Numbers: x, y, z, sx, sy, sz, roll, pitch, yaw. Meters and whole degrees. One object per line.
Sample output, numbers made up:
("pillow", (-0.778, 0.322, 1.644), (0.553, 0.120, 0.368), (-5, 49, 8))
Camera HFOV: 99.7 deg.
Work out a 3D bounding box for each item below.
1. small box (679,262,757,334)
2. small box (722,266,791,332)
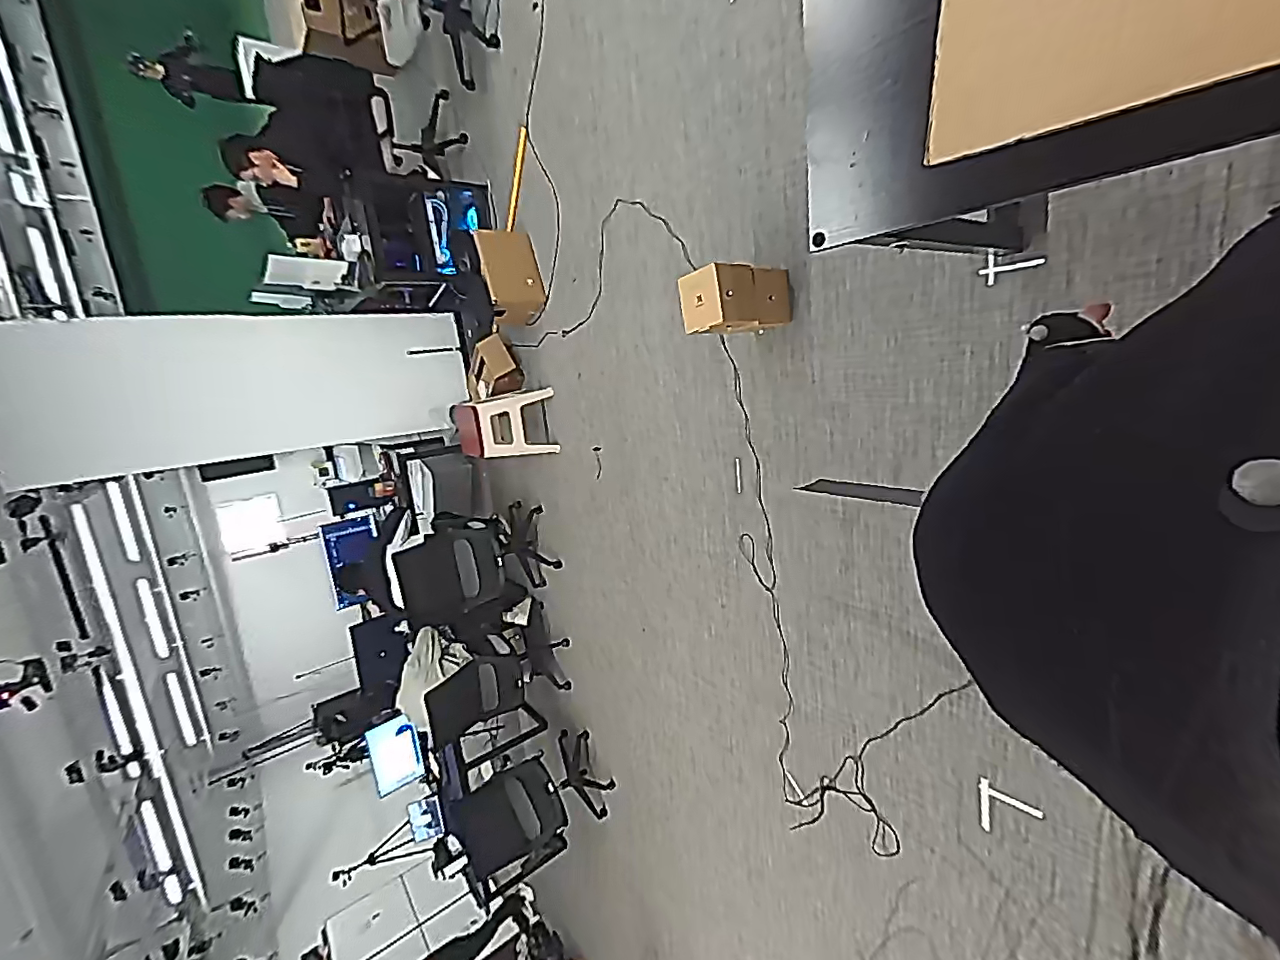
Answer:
("small box", (0.247, -0.564, 1.685), (0.168, 0.176, 0.179), (-2, 99, 53))
("small box", (0.377, -0.591, 1.779), (0.168, 0.176, 0.179), (4, 105, 53))
